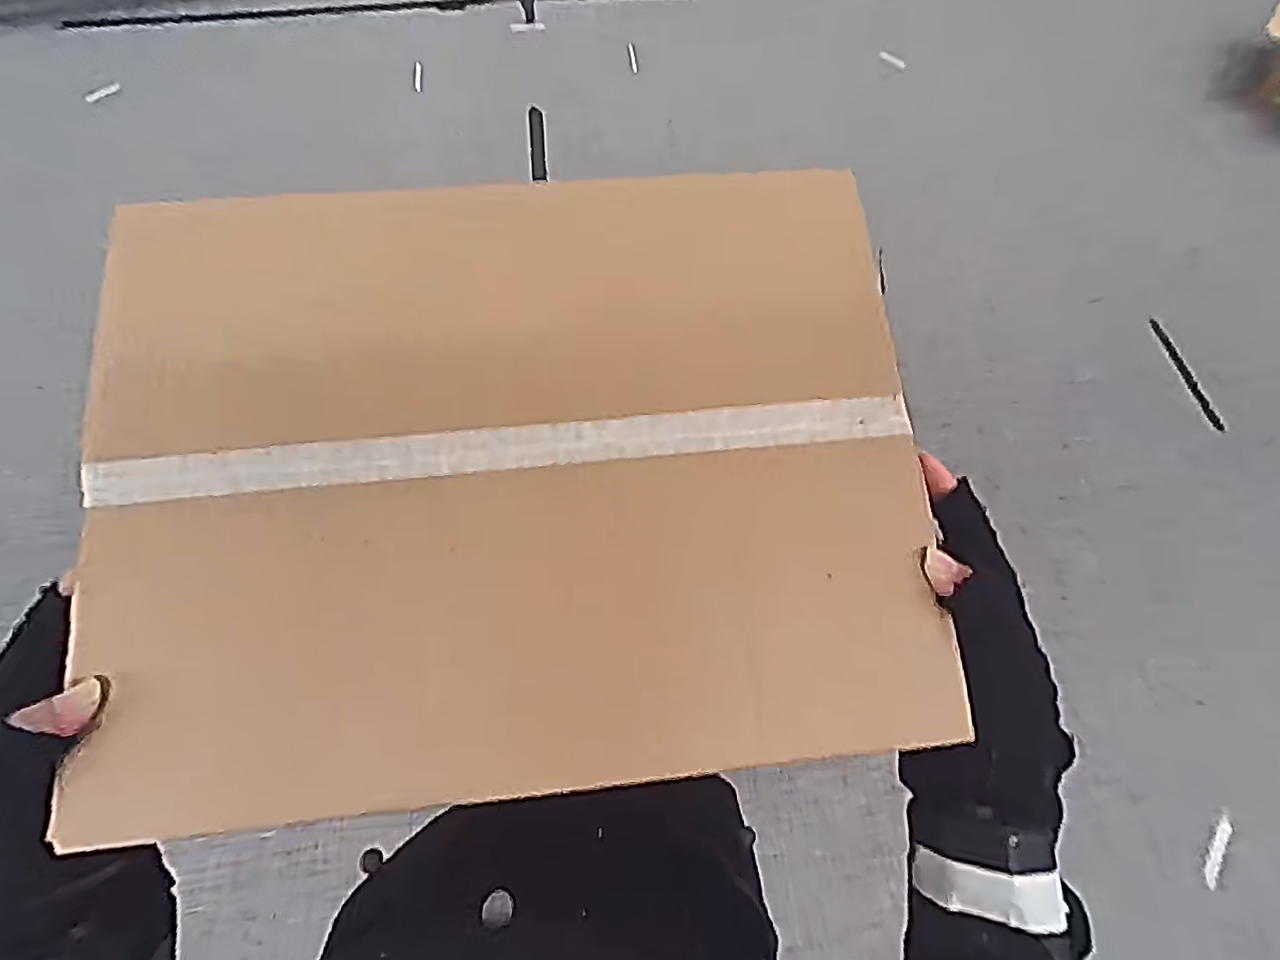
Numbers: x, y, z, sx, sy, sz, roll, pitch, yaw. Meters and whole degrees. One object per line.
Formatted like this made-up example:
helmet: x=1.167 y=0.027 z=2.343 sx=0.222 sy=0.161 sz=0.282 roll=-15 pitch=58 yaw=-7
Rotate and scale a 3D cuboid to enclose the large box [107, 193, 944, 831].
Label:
large box: x=-0.067 y=0.023 z=0.432 sx=0.408 sy=0.320 sz=0.320 roll=-5 pitch=79 yaw=-4
